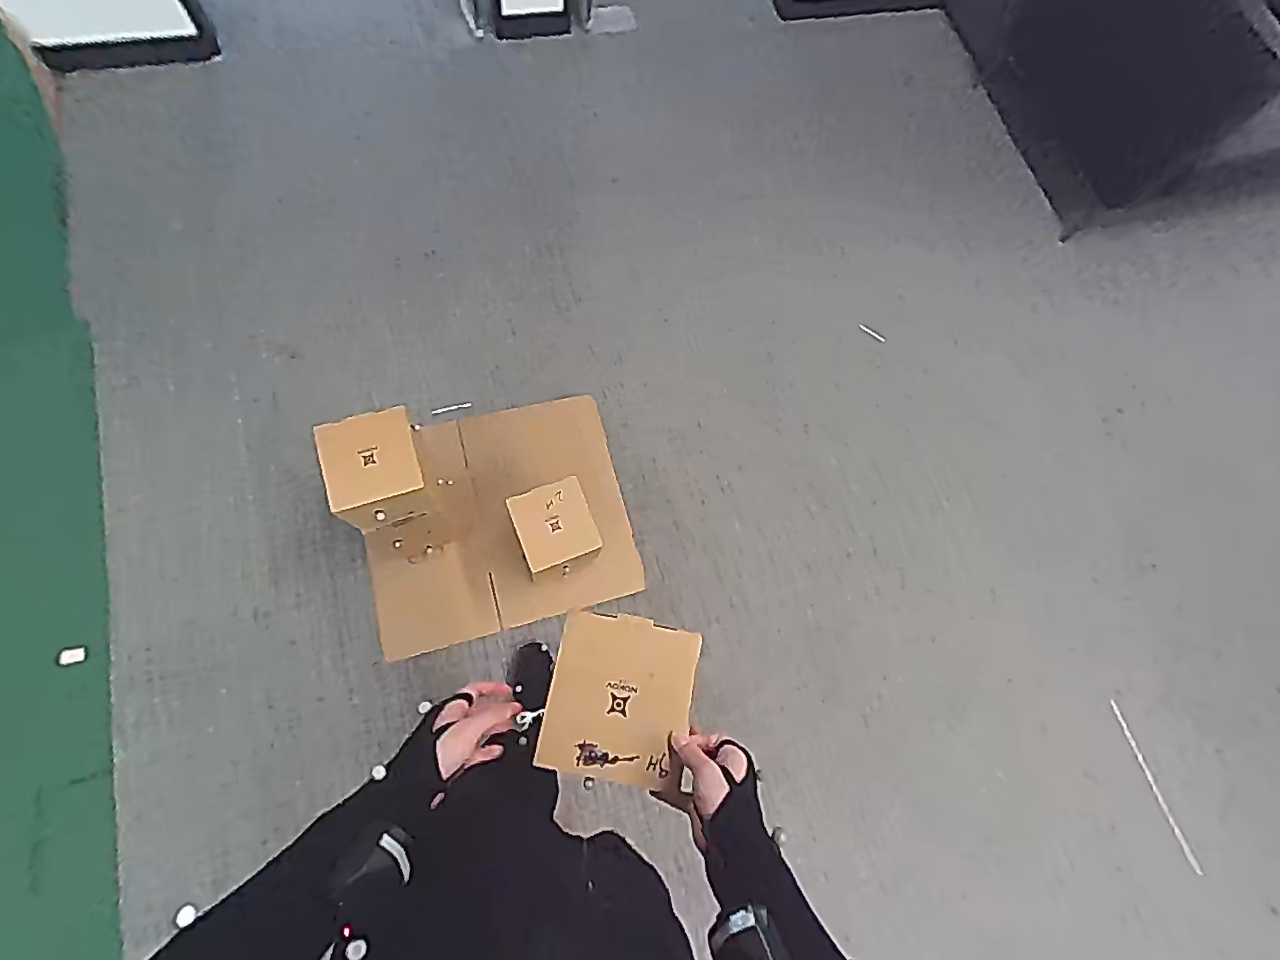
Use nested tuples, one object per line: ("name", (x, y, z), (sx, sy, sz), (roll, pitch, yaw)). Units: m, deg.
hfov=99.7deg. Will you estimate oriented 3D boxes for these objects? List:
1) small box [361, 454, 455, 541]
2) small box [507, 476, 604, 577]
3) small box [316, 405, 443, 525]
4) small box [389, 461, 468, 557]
("small box", (-0.533, 0.030, 1.226), (0.168, 0.176, 0.179), (-18, 75, -13))
("small box", (-0.193, 0.114, 1.242), (0.168, 0.176, 0.179), (-20, 77, -14))
("small box", (-0.507, -0.020, 1.073), (0.168, 0.176, 0.179), (-17, 75, -12))
("small box", (-0.555, 0.078, 1.380), (0.168, 0.176, 0.179), (-21, 77, -14))
